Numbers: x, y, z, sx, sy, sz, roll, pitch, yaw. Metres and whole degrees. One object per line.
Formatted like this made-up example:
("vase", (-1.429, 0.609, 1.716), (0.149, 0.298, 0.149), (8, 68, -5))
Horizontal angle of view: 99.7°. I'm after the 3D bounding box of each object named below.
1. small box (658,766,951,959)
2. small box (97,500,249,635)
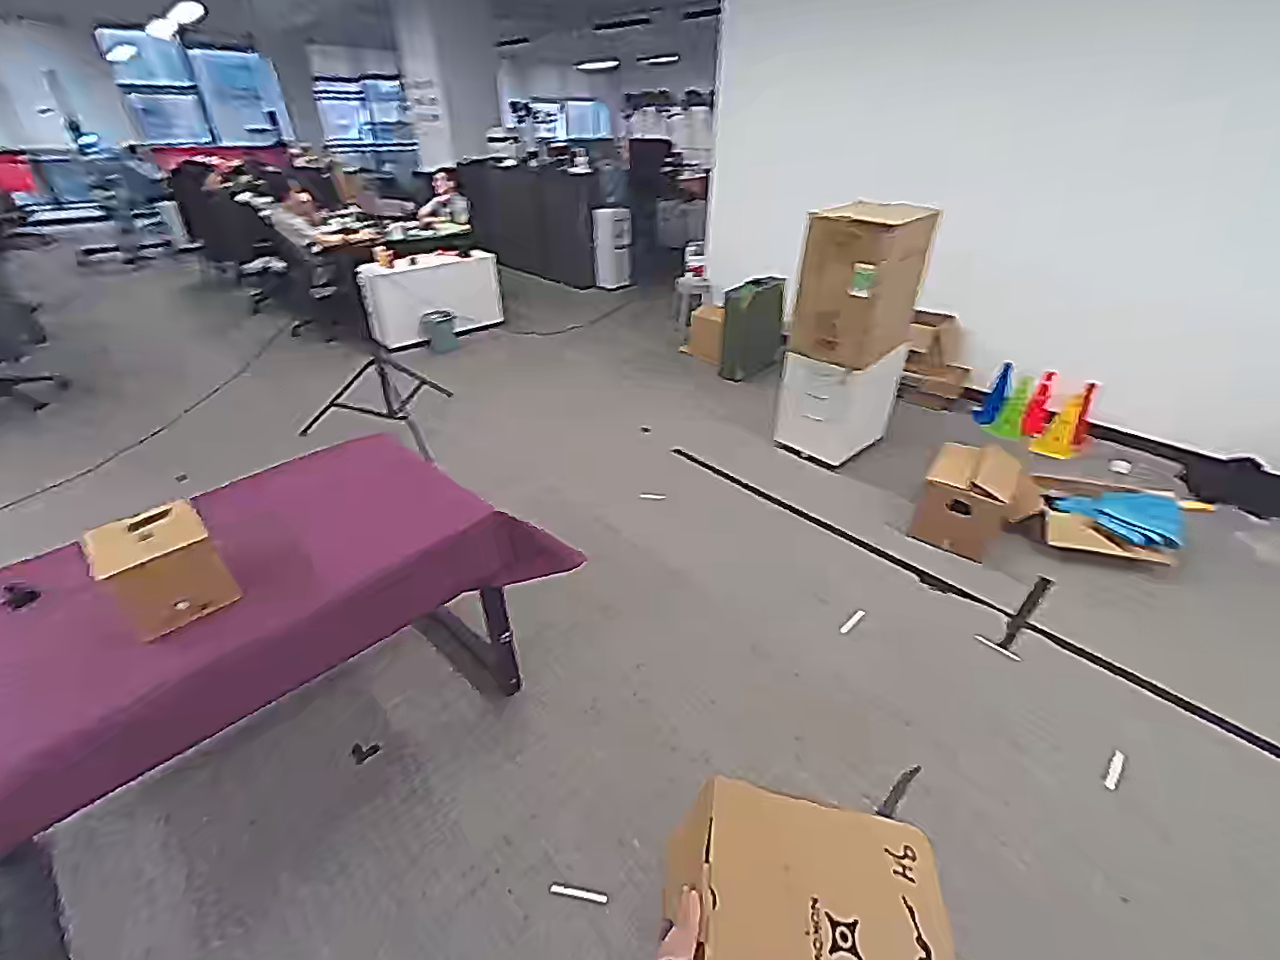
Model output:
("small box", (0.109, 0.355, 0.414), (0.179, 0.176, 0.168), (13, 38, 1))
("small box", (-0.925, 0.172, 1.079), (0.179, 0.176, 0.168), (28, 42, 35))
